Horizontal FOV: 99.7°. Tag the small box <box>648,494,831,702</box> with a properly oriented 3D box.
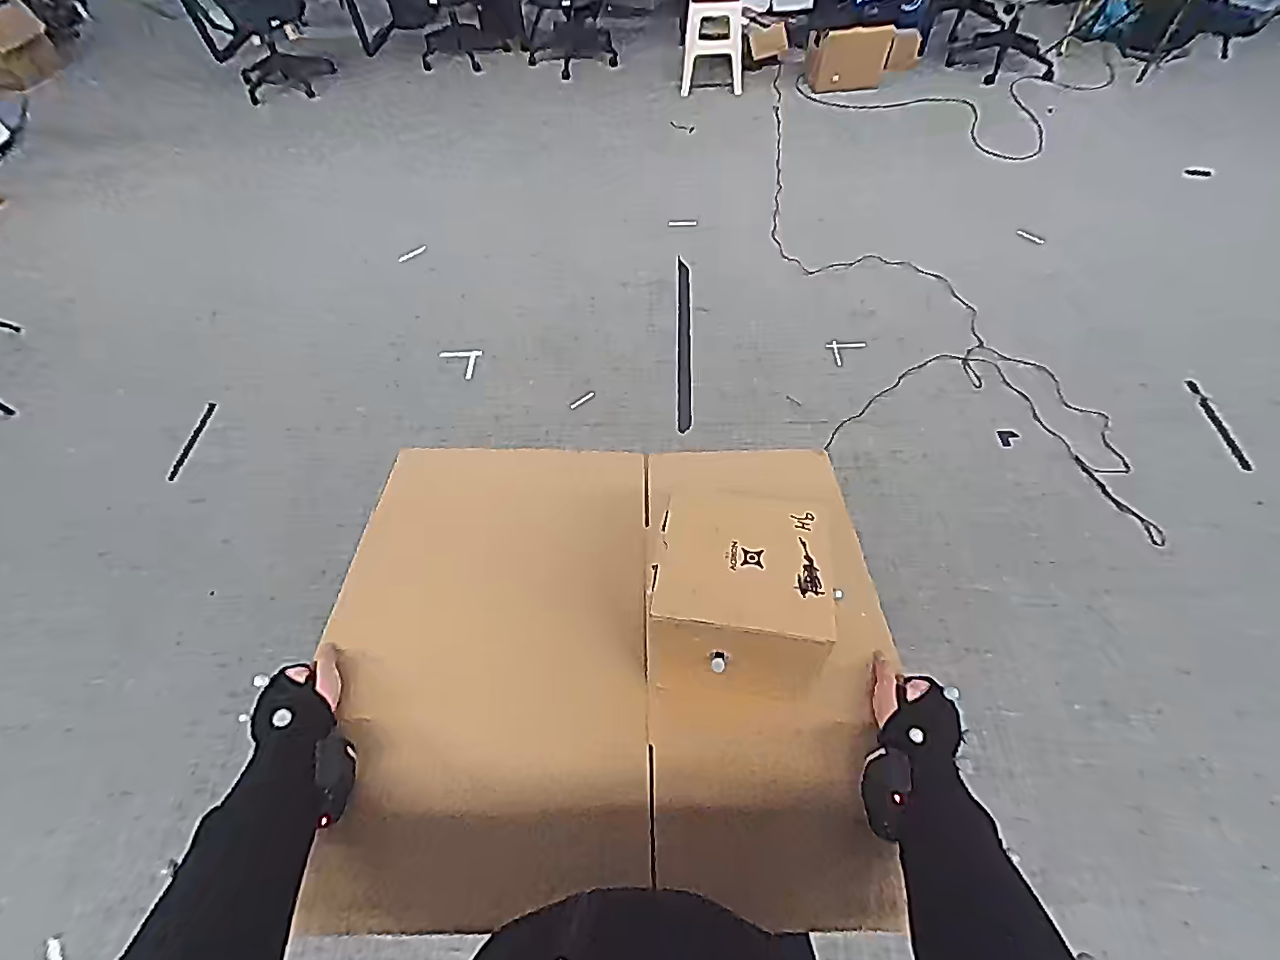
[{"bbox_3d":[0.111,0.137,0.623,0.179,0.176,0.168,5,48,9],"label":"small box"}]
